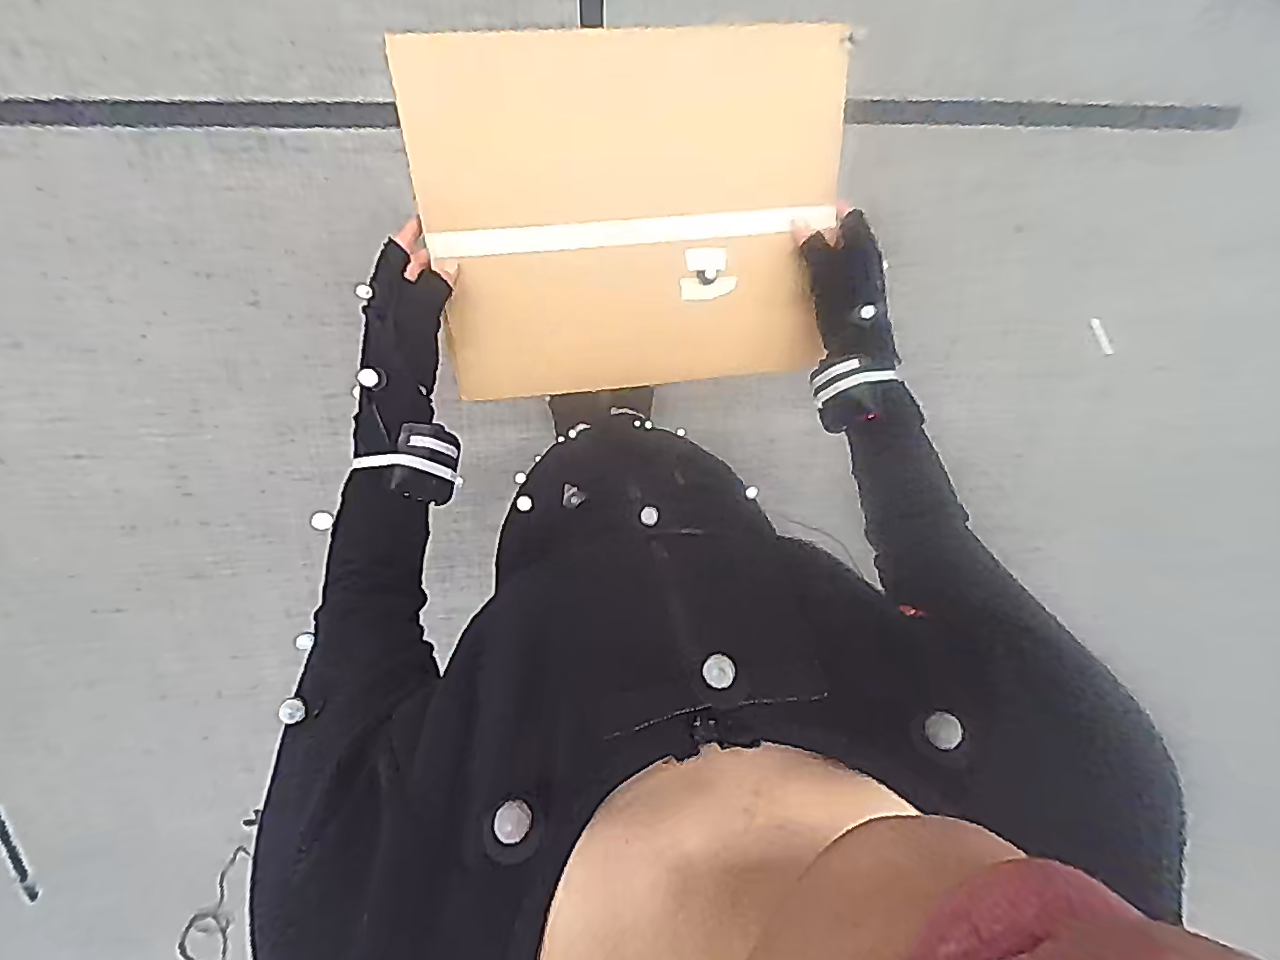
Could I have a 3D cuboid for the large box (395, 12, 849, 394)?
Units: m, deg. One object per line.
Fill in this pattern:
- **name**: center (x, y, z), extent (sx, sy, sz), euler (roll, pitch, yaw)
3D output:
- **large box**: center (-0.022, -0.316, 0.658), extent (0.408, 0.320, 0.320), euler (-7, 117, -7)
